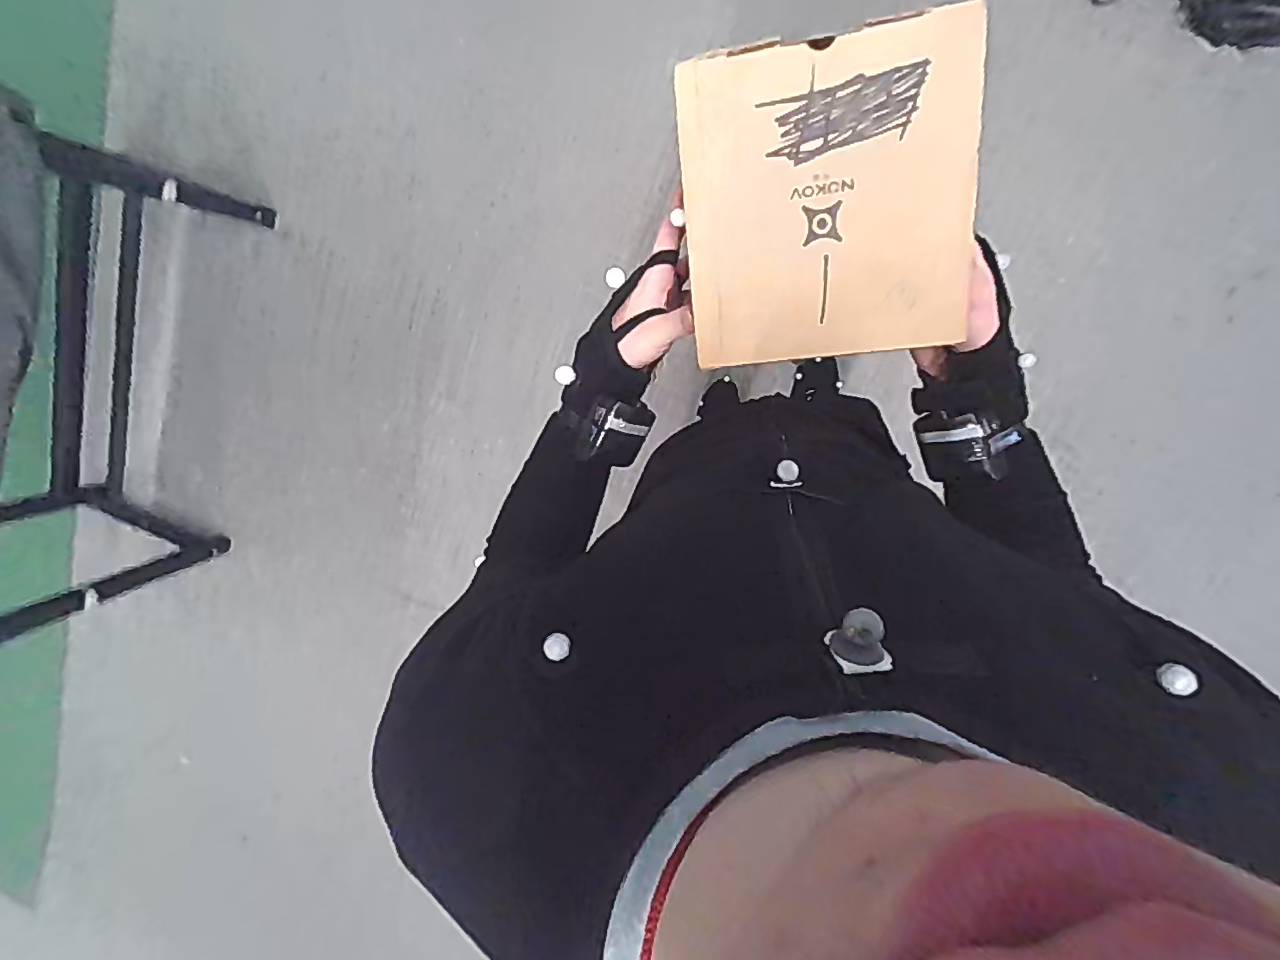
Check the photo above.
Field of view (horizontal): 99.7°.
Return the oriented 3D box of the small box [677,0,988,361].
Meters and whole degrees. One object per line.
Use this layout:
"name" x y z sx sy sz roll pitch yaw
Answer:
"small box" 0.120 -0.189 0.391 0.168 0.176 0.179 -3 110 11
